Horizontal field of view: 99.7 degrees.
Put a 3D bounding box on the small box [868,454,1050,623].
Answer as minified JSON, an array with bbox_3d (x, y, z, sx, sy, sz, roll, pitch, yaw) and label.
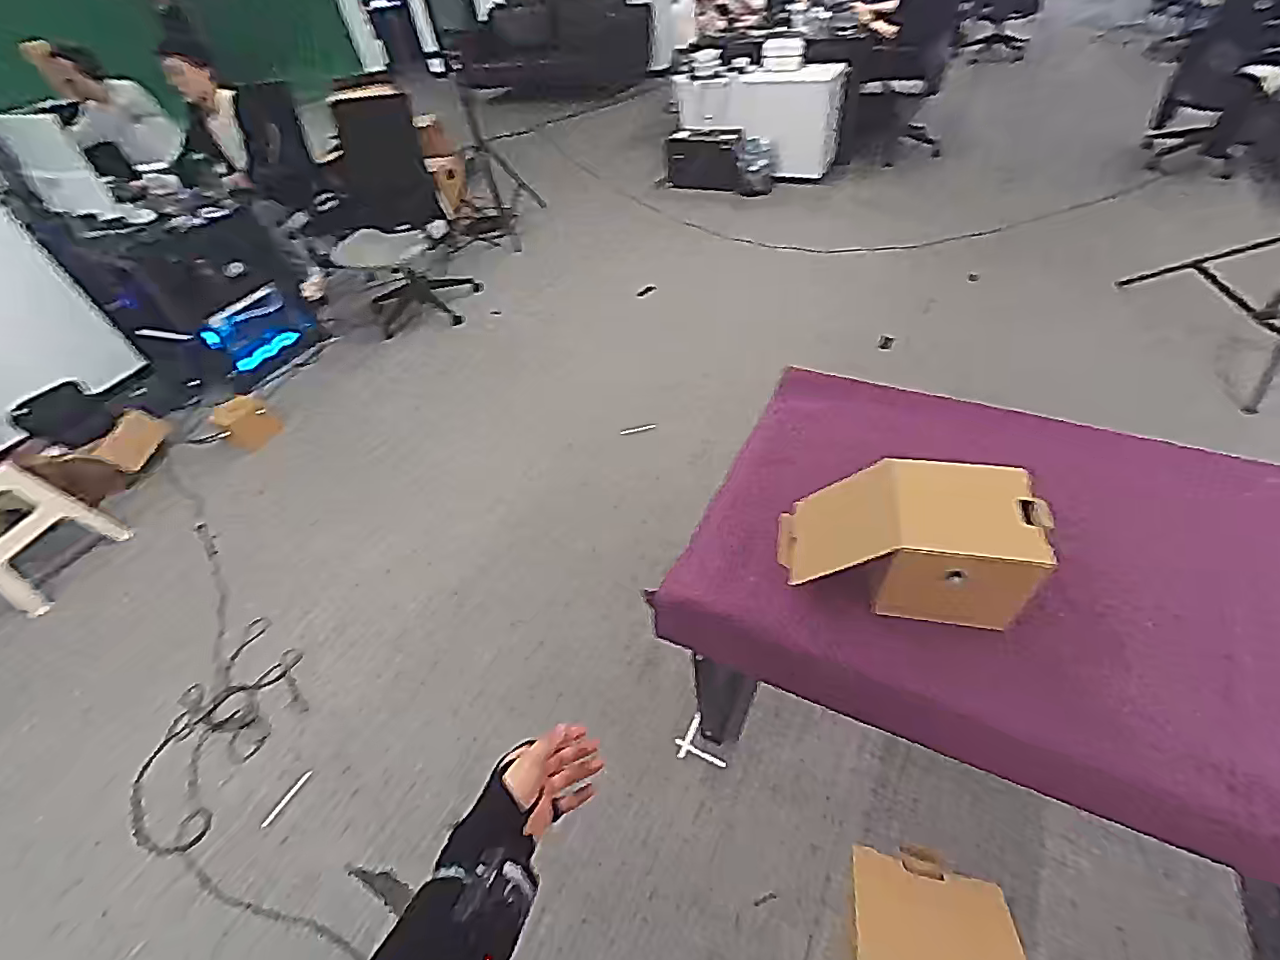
[{"bbox_3d":[0.429,0.084,0.766,0.179,0.176,0.168,5,49,14],"label":"small box"}]
